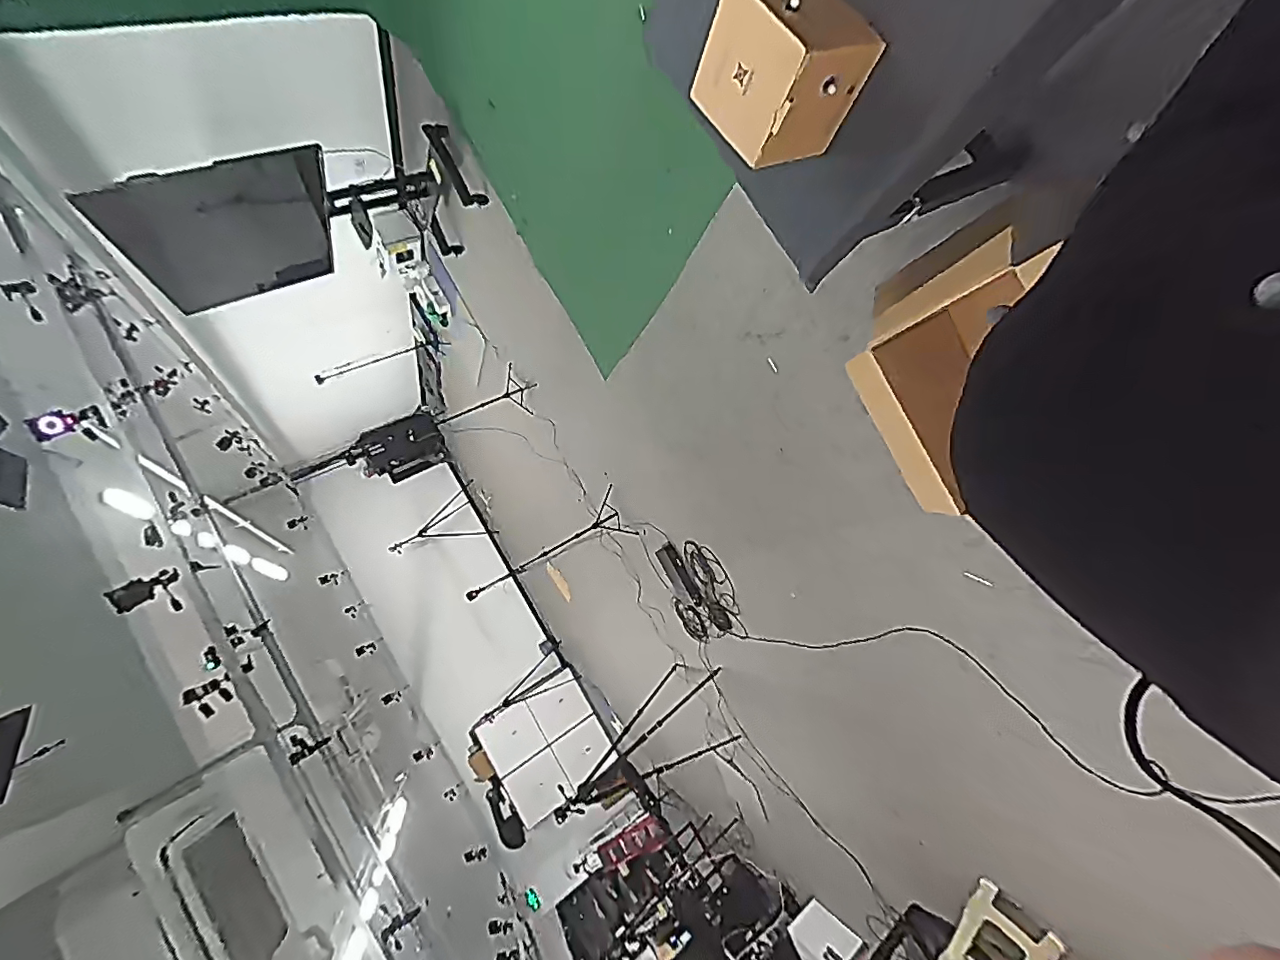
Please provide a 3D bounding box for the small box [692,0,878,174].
[{"bbox_3d":[0.214,-0.604,0.812,0.179,0.176,0.168,57,154,14],"label":"small box"}]
